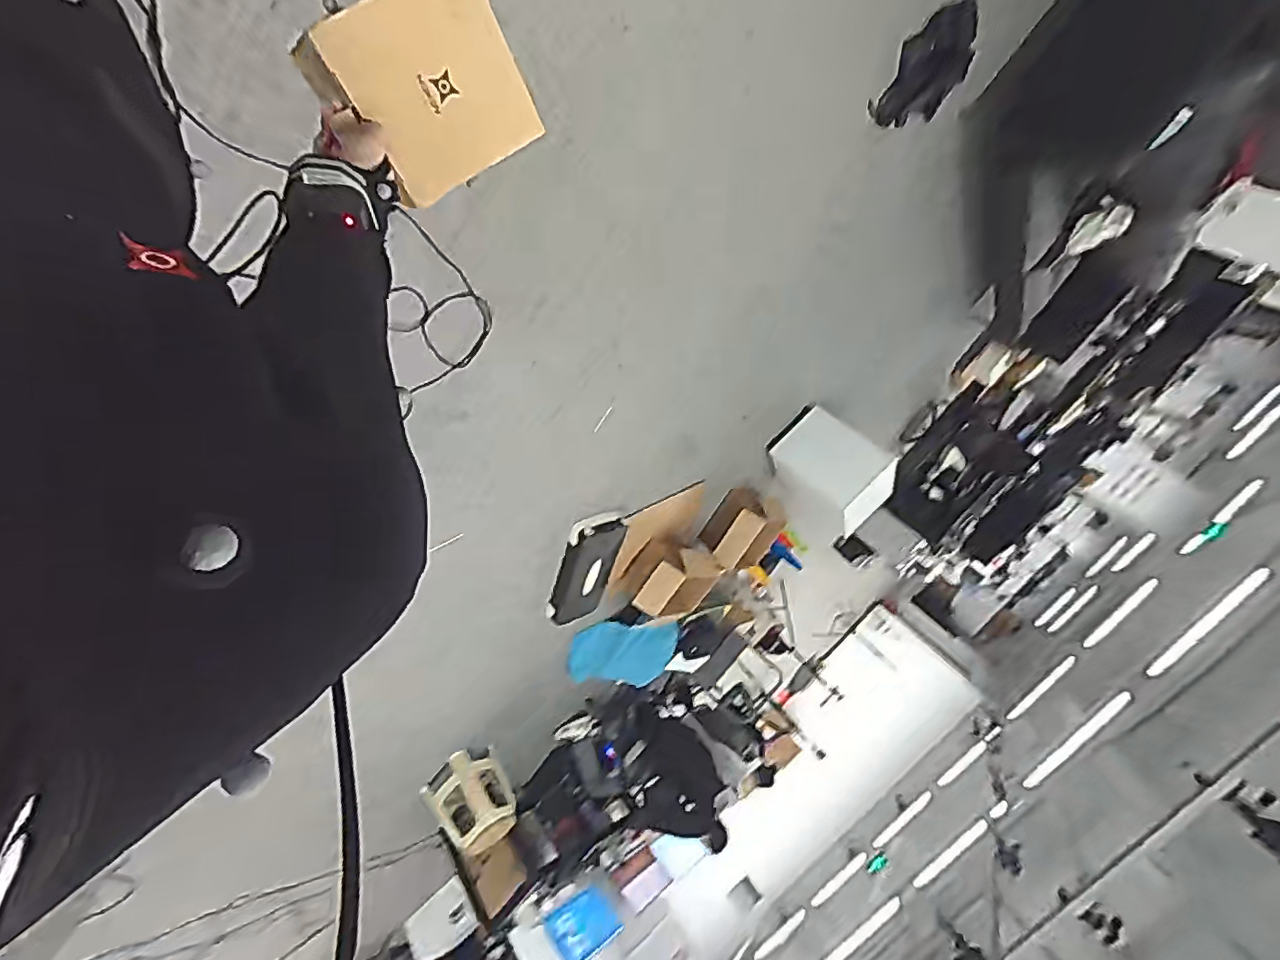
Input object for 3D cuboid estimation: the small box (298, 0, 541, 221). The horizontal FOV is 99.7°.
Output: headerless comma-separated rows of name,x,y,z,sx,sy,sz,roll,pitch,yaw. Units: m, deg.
small box,-0.250,-0.424,0.611,0.179,0.176,0.168,-39,133,-11
